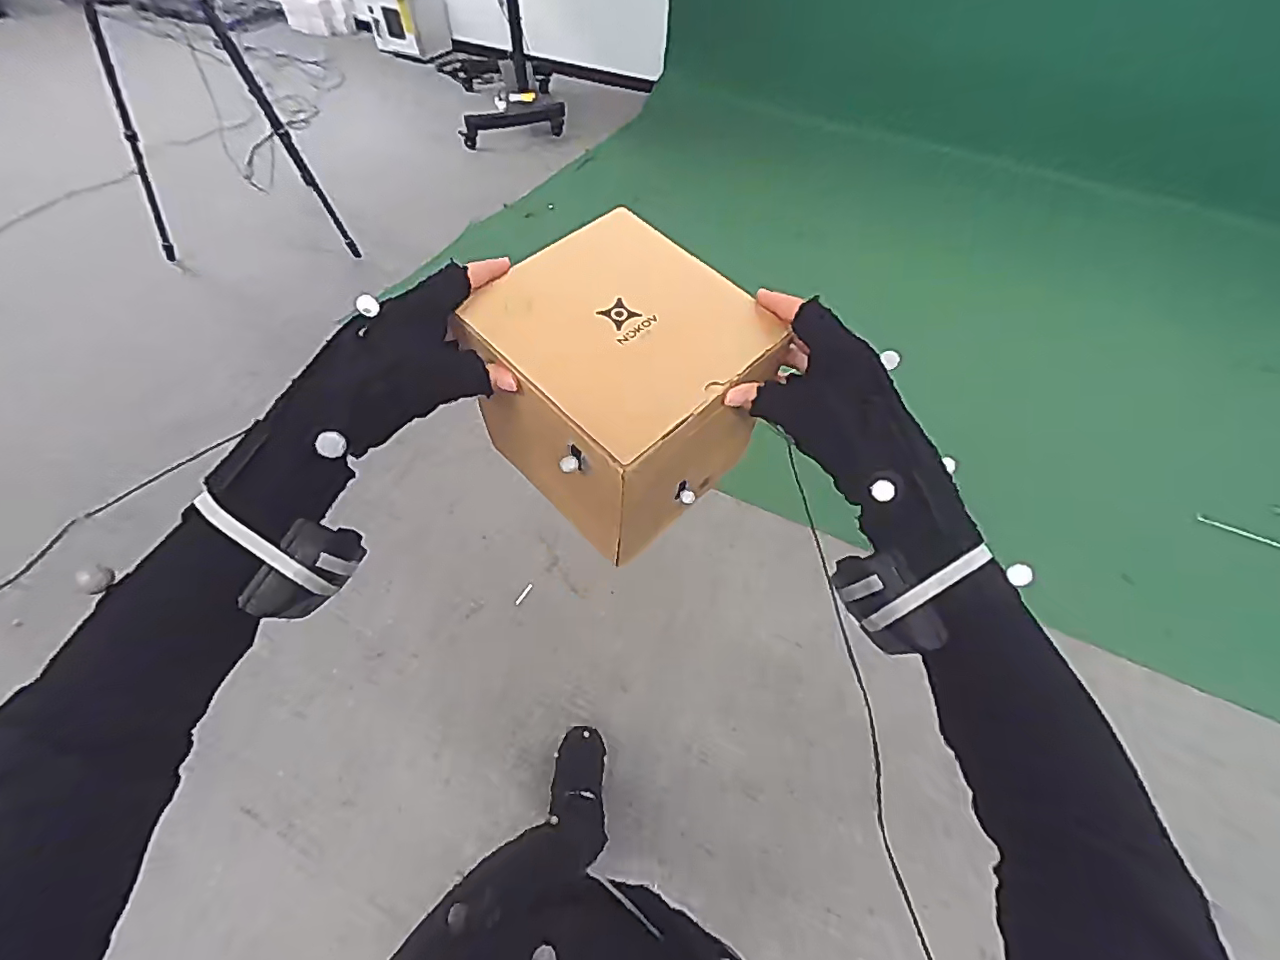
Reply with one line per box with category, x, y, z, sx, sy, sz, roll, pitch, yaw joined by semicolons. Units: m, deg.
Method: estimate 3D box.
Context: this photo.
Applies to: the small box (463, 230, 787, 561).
small box;-0.017;-0.063;0.451;0.168;0.176;0.179;-39;71;-23
